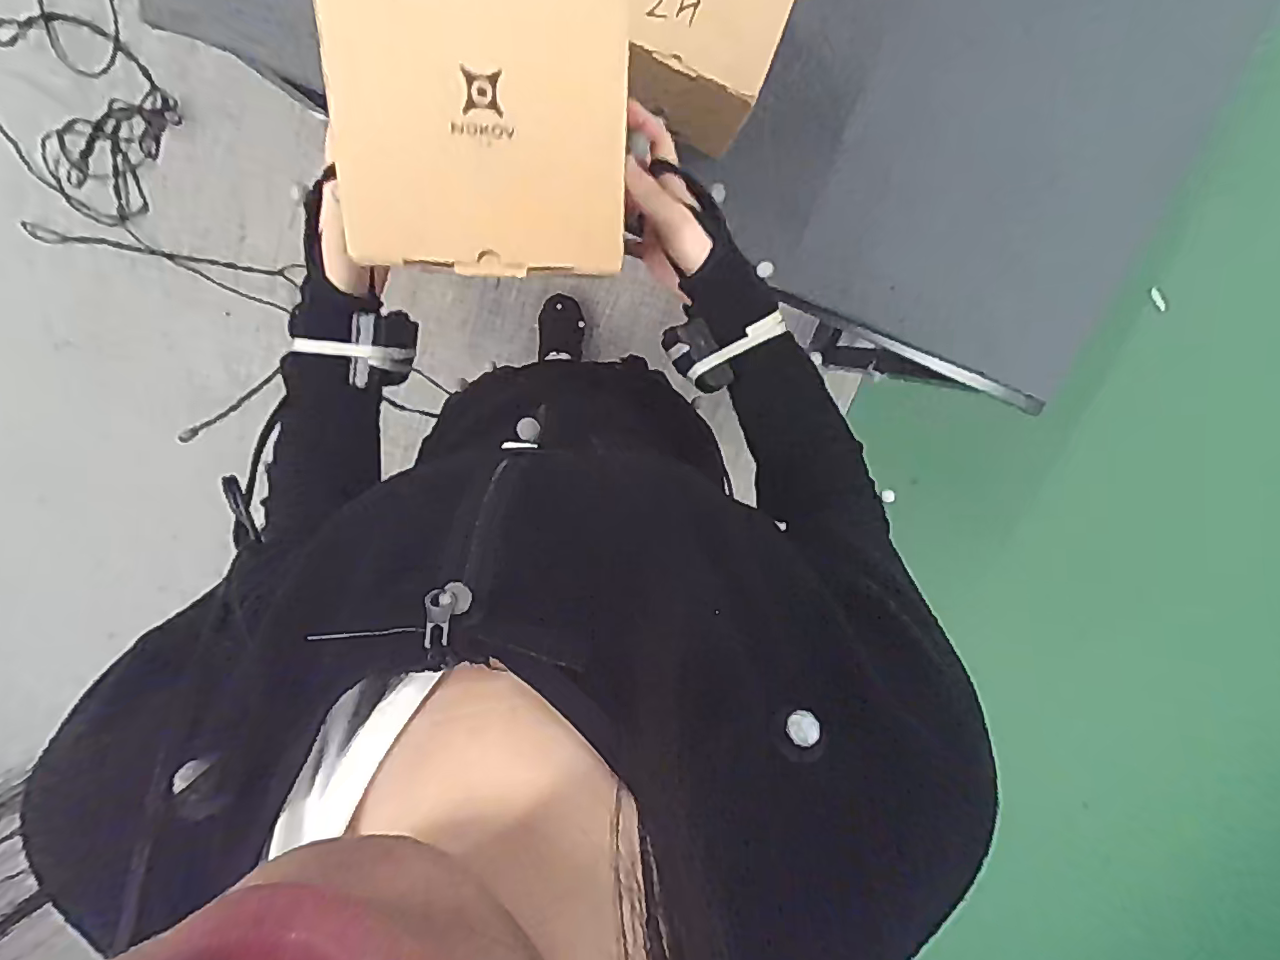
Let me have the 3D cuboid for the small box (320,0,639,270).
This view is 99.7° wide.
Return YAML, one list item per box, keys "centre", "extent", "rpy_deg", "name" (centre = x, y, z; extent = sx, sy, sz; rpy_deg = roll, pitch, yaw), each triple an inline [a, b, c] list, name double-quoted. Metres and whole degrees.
- centre: [-0.095, -0.243, 0.370]
  extent: [0.168, 0.176, 0.179]
  rpy_deg: [0, 110, -7]
  name: "small box"

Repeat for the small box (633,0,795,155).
- centre: [0.057, -0.472, 0.546]
  extent: [0.168, 0.176, 0.179]
  rpy_deg: [19, 102, -8]
  name: "small box"
